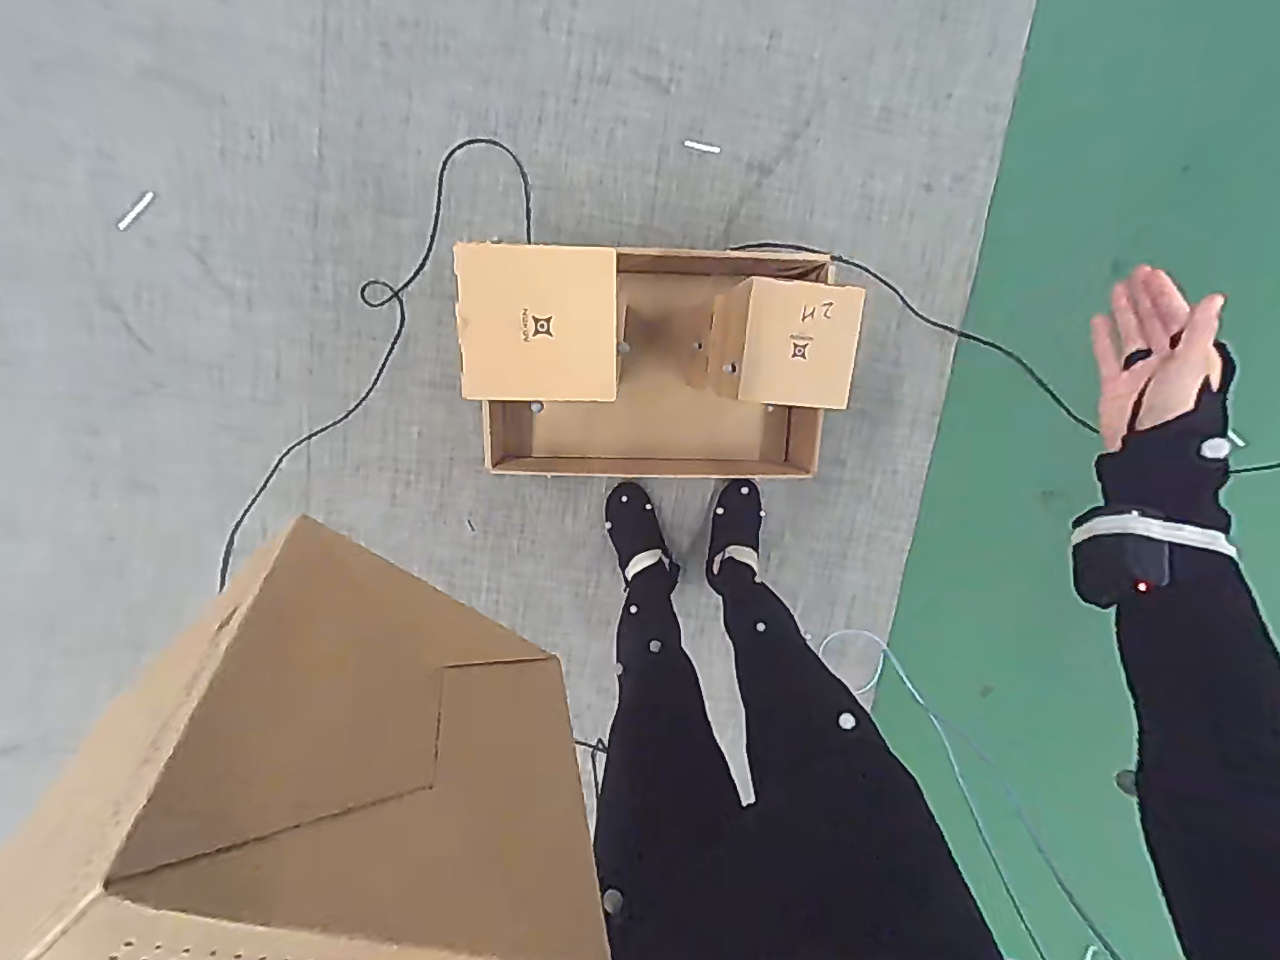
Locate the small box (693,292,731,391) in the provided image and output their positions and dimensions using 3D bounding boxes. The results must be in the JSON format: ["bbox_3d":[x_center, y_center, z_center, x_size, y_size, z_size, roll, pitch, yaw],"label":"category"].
[{"bbox_3d":[0.201,-0.245,1.010,0.179,0.176,0.168,5,101,-4],"label":"small box"}]

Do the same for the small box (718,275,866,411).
[{"bbox_3d":[0.226,-0.209,0.851,0.168,0.176,0.179,5,101,-6],"label":"small box"}]

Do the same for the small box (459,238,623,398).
[{"bbox_3d":[-0.112,-0.194,0.670,0.179,0.176,0.168,1,103,-3],"label":"small box"}]
